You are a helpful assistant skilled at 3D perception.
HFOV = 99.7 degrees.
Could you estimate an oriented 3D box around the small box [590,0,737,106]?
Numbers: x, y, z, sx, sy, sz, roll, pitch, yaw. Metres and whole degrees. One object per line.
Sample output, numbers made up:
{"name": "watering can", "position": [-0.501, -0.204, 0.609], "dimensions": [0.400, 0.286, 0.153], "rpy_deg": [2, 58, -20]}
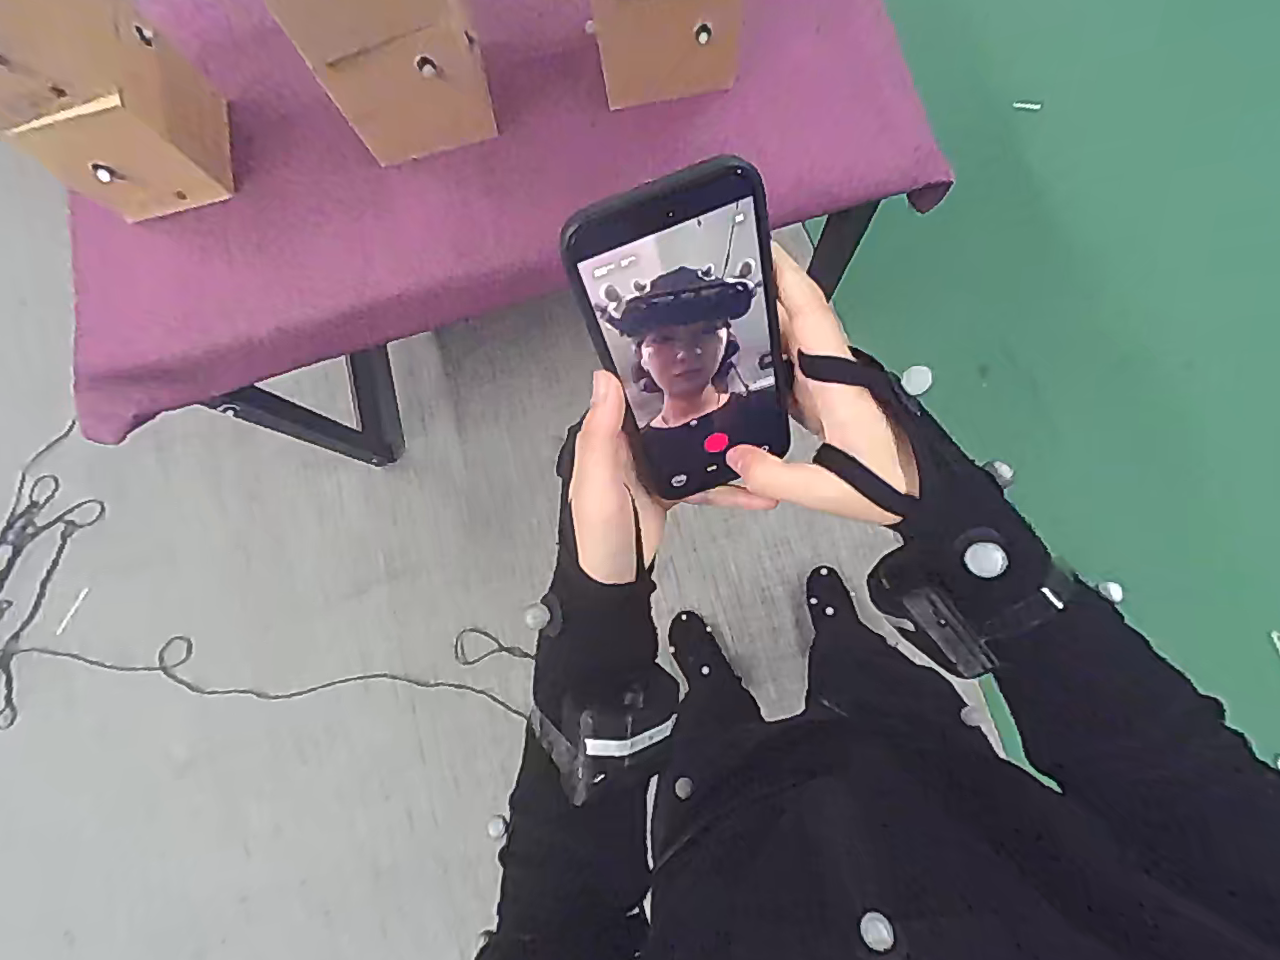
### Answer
{"name": "small box", "position": [0.027, -0.627, 0.694], "dimensions": [0.179, 0.176, 0.168], "rpy_deg": [-7, 79, 5]}

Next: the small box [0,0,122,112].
{"name": "small box", "position": [-0.709, -0.534, 0.574], "dimensions": [0.168, 0.176, 0.179], "rpy_deg": [-17, 80, 1]}

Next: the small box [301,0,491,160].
{"name": "small box", "position": [-0.308, -0.565, 0.711], "dimensions": [0.179, 0.176, 0.168], "rpy_deg": [-13, 79, 3]}

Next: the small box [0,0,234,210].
{"name": "small box", "position": [-0.693, -0.498, 0.734], "dimensions": [0.168, 0.176, 0.179], "rpy_deg": [-12, 79, 3]}
